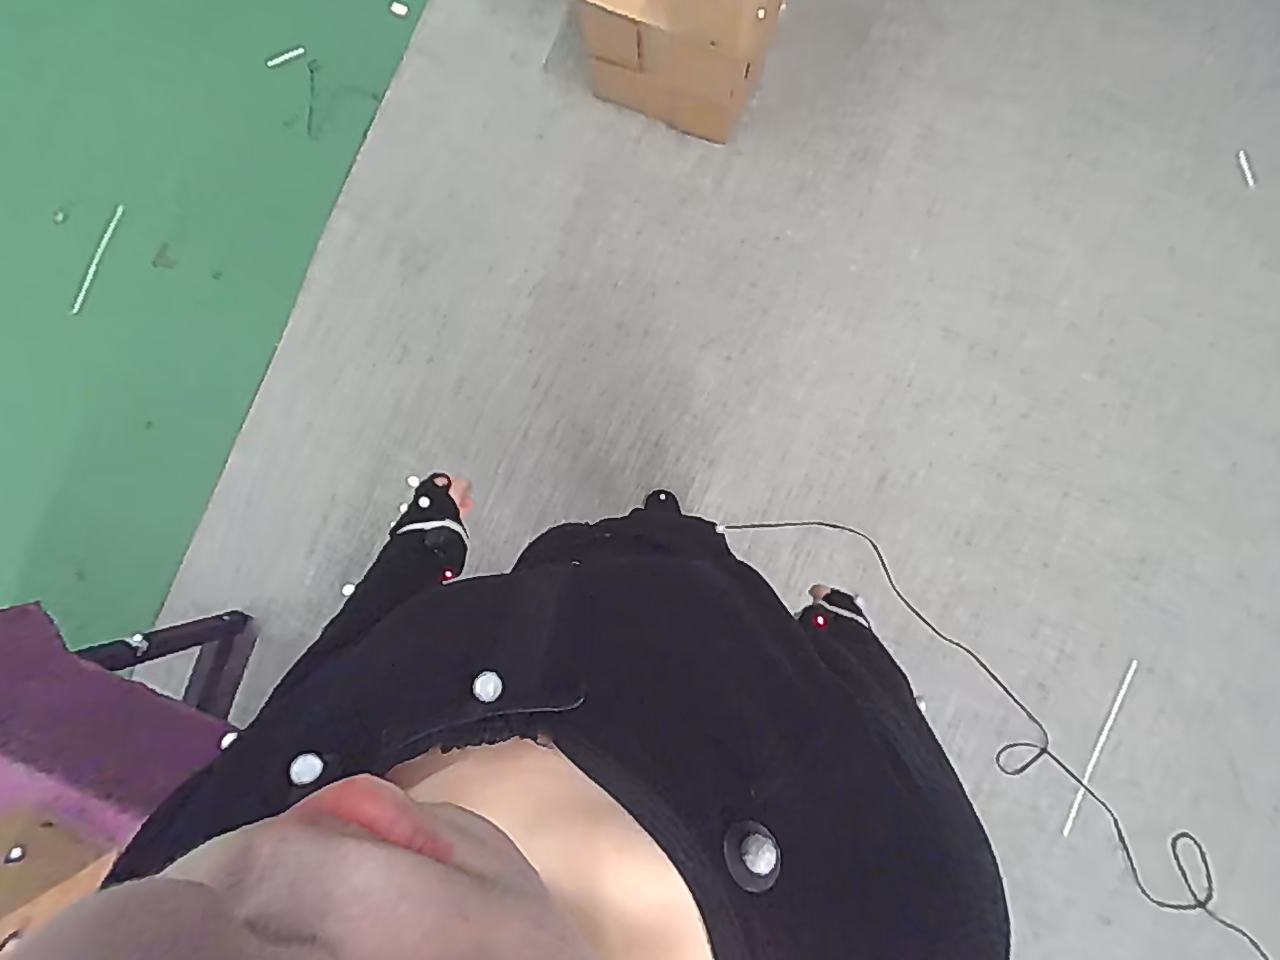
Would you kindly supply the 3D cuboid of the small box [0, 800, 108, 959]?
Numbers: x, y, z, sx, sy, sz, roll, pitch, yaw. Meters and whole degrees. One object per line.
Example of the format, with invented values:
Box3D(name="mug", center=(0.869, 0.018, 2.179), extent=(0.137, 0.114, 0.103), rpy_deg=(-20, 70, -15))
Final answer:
Box3D(name="small box", center=(-0.905, 0.588, 0.744), extent=(0.168, 0.176, 0.179), rpy_deg=(22, 90, 5))
